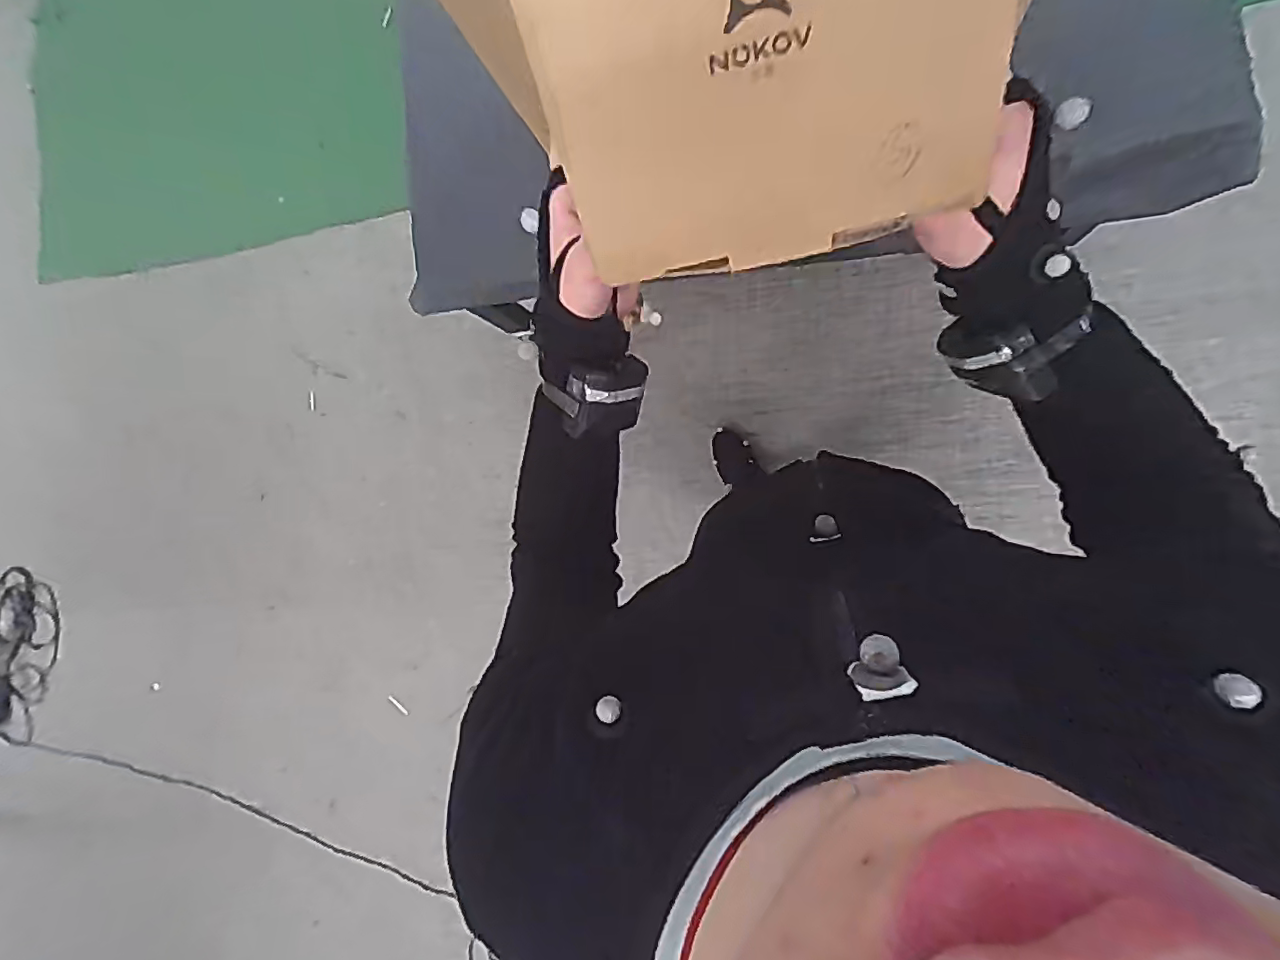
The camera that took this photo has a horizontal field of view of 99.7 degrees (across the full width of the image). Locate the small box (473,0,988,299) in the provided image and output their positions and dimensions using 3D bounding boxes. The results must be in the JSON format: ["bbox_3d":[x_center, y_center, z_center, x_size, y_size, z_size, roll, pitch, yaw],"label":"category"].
[{"bbox_3d":[0.036,-0.210,0.237,0.168,0.176,0.179,-7,132,14],"label":"small box"}]
